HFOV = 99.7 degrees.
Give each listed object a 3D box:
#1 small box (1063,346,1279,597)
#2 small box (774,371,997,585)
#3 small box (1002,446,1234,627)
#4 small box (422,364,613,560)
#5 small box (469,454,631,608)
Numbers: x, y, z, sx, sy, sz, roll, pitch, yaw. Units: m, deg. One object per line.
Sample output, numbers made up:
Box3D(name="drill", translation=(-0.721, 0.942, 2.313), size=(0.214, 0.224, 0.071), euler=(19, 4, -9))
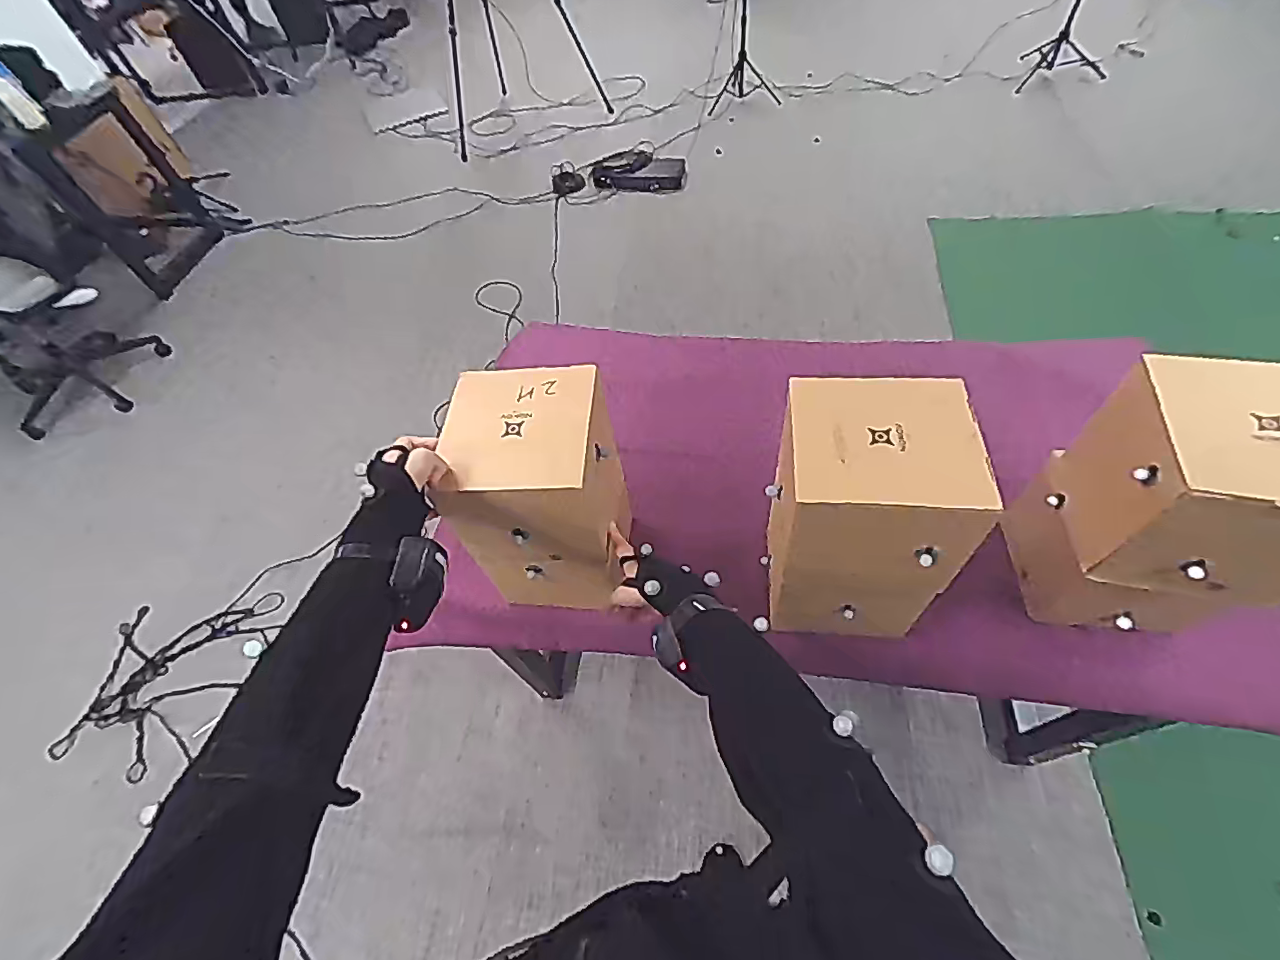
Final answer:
Box3D(name="small box", translation=(0.566, -0.008, 0.543), size=(0.168, 0.176, 0.179), euler=(8, 56, 15))
Box3D(name="small box", translation=(0.241, 0.001, 0.584), size=(0.179, 0.176, 0.168), euler=(2, 53, 11))
Box3D(name="small box", translation=(0.602, 0.075, 0.682), size=(0.179, 0.176, 0.168), euler=(1, 53, 11))
Box3D(name="small box", translation=(-0.128, -0.014, 0.649), size=(0.168, 0.176, 0.179), euler=(-2, 53, 7))
Box3D(name="small box", translation=(-0.116, 0.075, 0.786), size=(0.179, 0.176, 0.168), euler=(2, 54, 9))
